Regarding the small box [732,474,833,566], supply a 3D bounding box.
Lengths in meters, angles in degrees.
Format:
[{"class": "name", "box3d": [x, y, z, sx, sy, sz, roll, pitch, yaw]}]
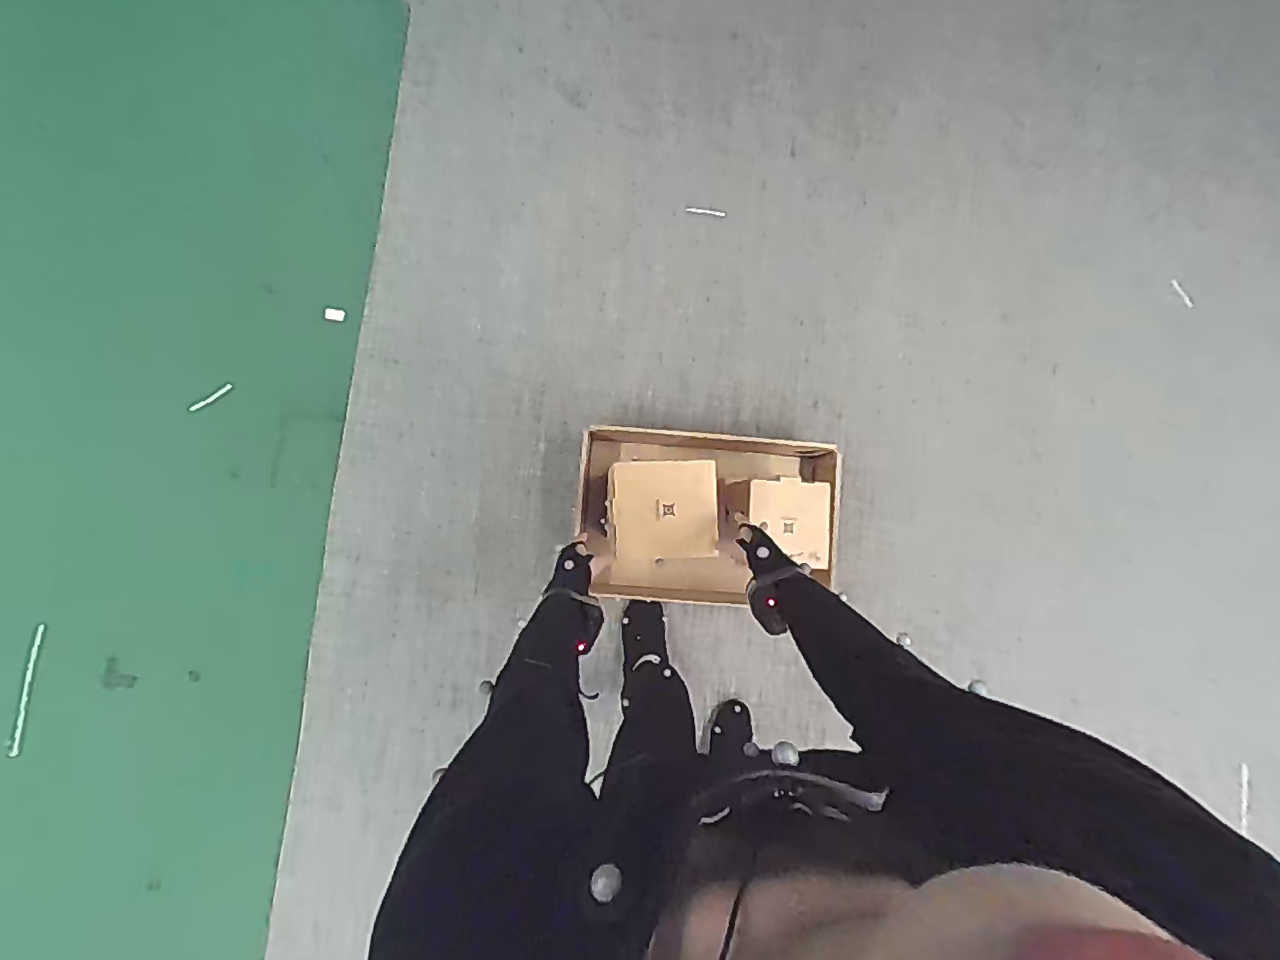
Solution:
[{"class": "small box", "box3d": [0.296, 0.085, 1.150, 0.168, 0.176, 0.179, 4, 86, -2]}]

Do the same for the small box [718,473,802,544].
[{"class": "small box", "box3d": [0.283, 0.072, 1.315, 0.179, 0.176, 0.168, 0, 87, -3]}]

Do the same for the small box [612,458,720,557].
[{"class": "small box", "box3d": [0.040, 0.046, 0.976, 0.179, 0.176, 0.168, -2, 88, -4]}]
